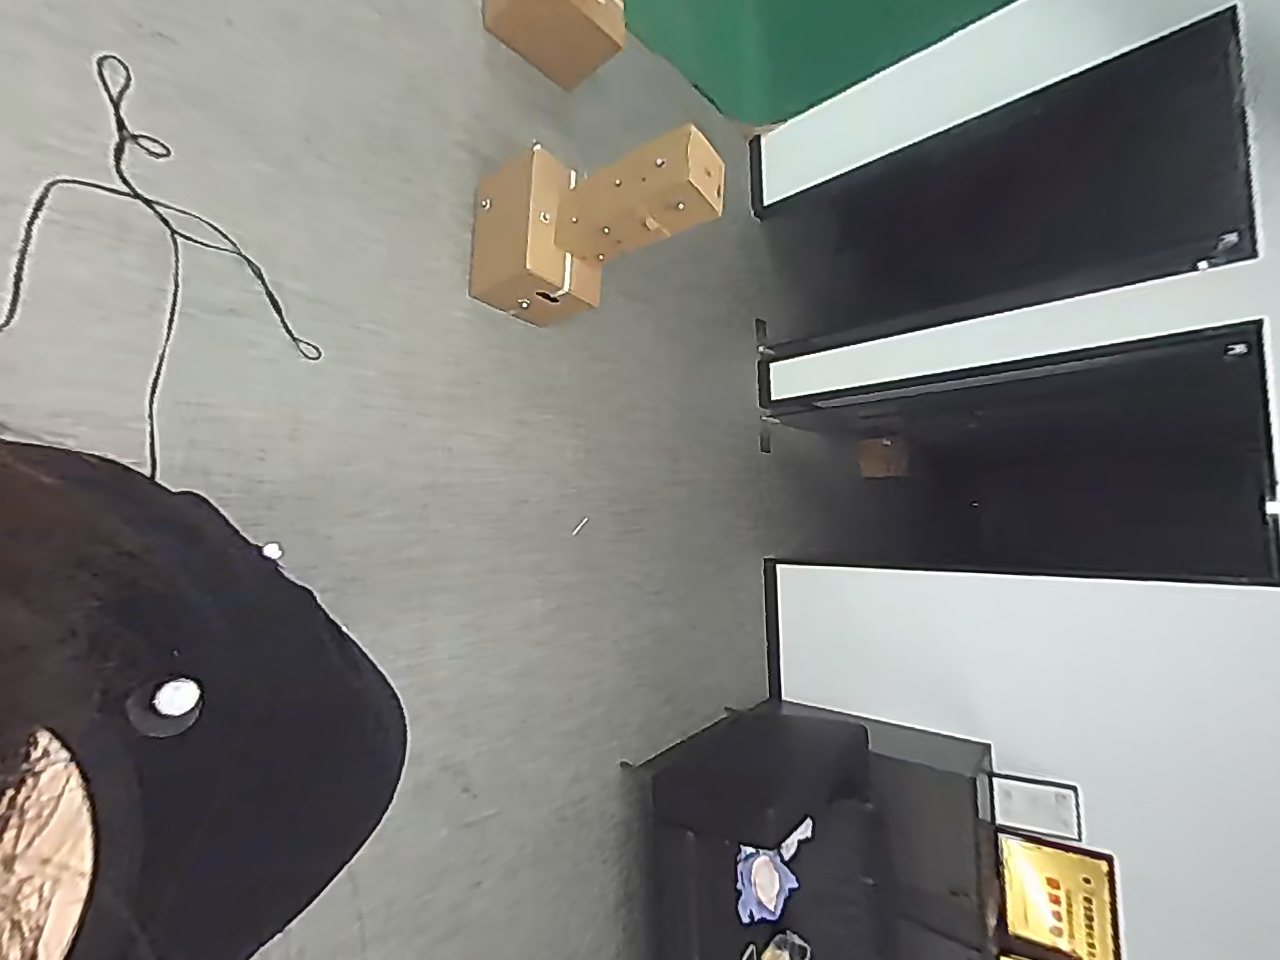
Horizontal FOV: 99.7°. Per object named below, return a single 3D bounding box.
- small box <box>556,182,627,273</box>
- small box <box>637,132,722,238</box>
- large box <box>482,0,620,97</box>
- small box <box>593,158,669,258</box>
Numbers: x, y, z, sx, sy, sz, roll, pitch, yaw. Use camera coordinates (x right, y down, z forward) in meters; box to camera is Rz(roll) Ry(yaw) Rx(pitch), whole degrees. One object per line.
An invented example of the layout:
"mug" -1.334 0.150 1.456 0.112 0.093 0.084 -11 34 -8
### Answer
"small box" -0.147 -0.784 1.702 0.168 0.176 0.179 17 73 -50
"small box" 0.108 -0.803 1.496 0.179 0.176 0.168 17 74 -49
"large box" -0.323 -1.716 1.963 0.408 0.320 0.320 1 85 -51
"small box" -0.022 -0.791 1.596 0.168 0.176 0.179 19 71 -50
